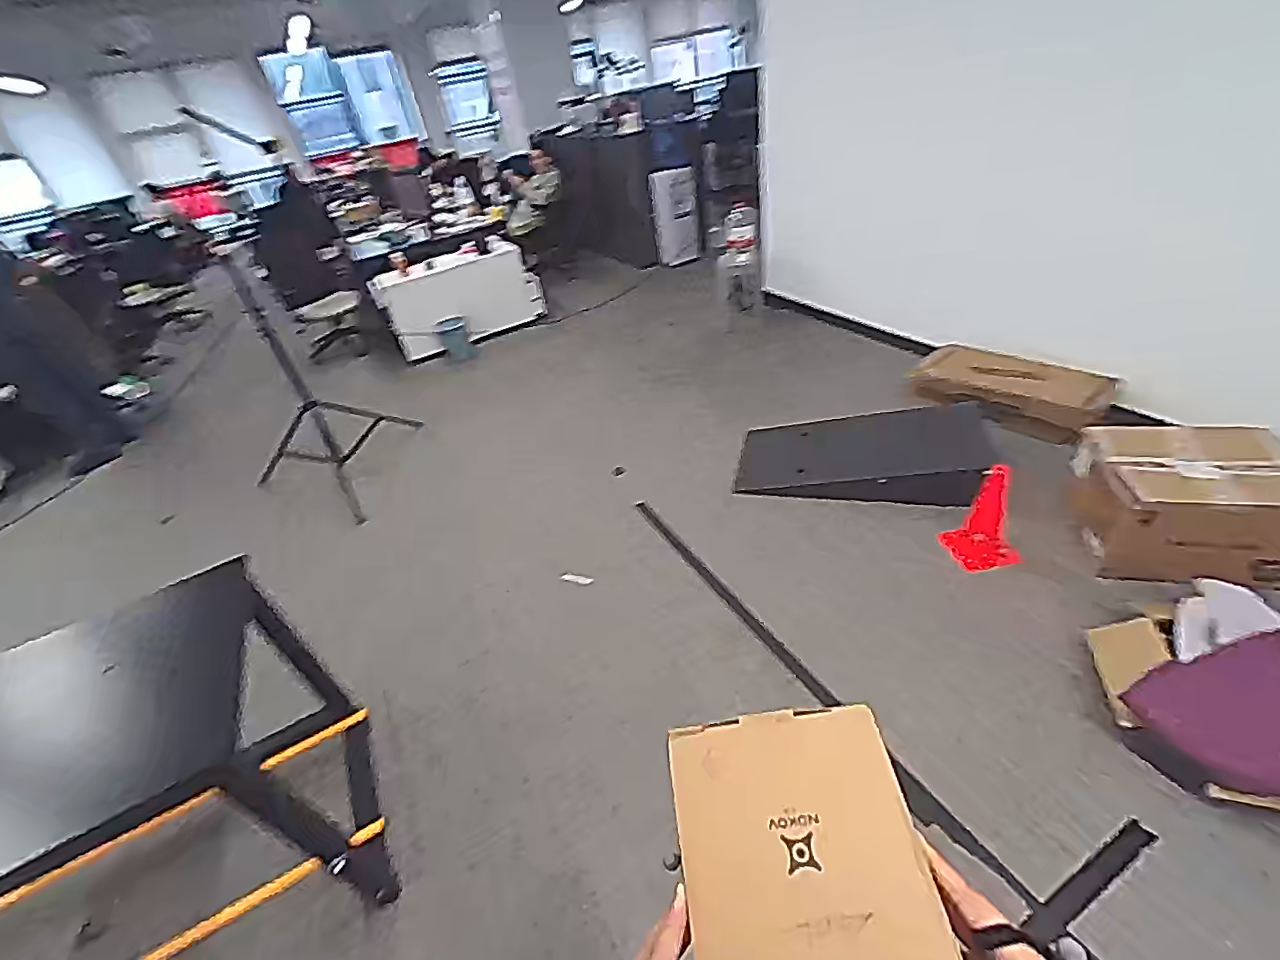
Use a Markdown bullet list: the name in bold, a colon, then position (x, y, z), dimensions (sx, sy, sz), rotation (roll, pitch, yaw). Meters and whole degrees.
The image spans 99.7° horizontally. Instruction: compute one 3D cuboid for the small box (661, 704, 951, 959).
- **small box**: position (0.112, 0.310, 0.444), dimensions (0.168, 0.176, 0.179), rotation (-10, 51, -1)
